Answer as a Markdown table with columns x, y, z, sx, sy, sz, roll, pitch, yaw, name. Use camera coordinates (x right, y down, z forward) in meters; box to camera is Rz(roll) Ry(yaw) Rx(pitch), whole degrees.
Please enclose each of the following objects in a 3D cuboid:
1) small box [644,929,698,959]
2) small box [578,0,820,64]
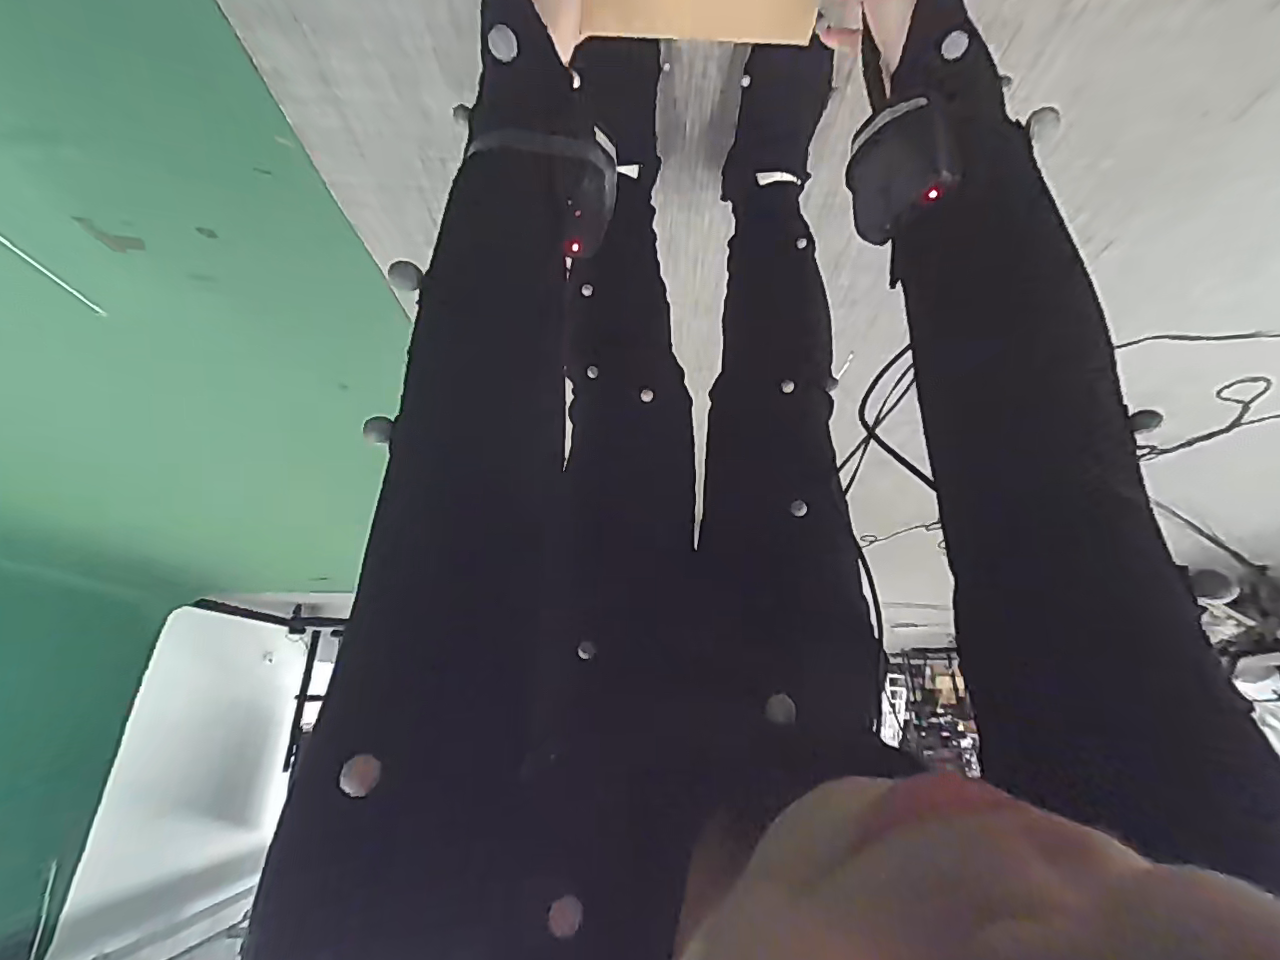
| x | y | z | sx | sy | sz | roll | pitch | yaw | name |
| --- | --- | --- | --- | --- | --- | --- | --- | --- | --- |
| 0.095 | 1.531 | 1.685 | 0.168 | 0.176 | 0.179 | 1 | 157 | 1 | small box |
| 0.042 | -0.416 | 0.348 | 0.168 | 0.176 | 0.179 | 2 | 158 | 0 | small box |
